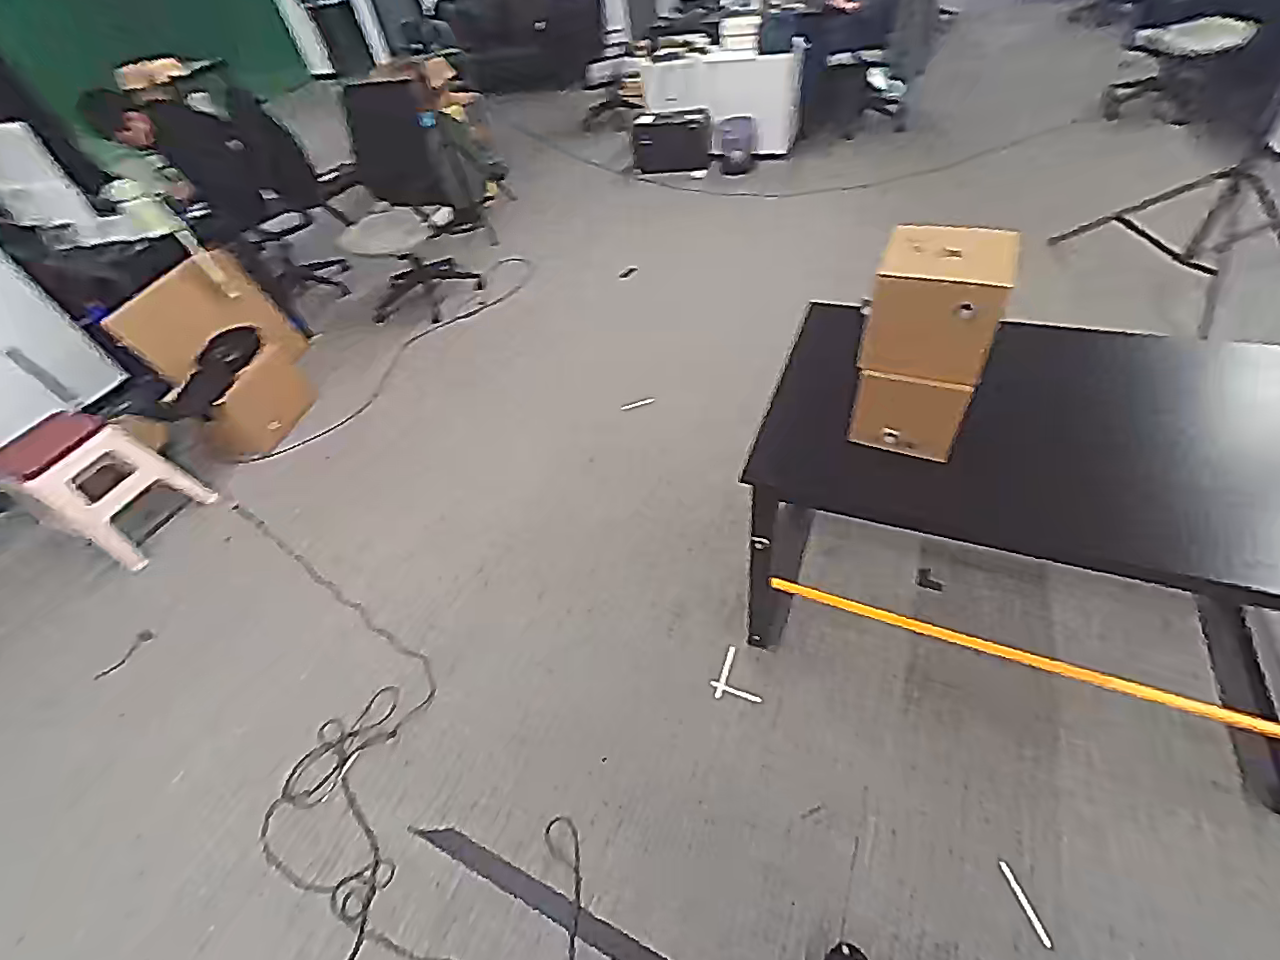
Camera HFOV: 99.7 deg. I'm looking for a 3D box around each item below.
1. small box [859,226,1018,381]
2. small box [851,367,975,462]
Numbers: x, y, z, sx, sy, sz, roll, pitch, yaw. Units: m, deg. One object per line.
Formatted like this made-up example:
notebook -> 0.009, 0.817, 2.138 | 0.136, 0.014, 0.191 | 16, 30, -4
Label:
small box -> 0.464, -0.278, 0.856 | 0.179, 0.176, 0.168 | 15, 53, 23
small box -> 0.489, -0.163, 0.973 | 0.168, 0.176, 0.179 | 15, 54, 24
